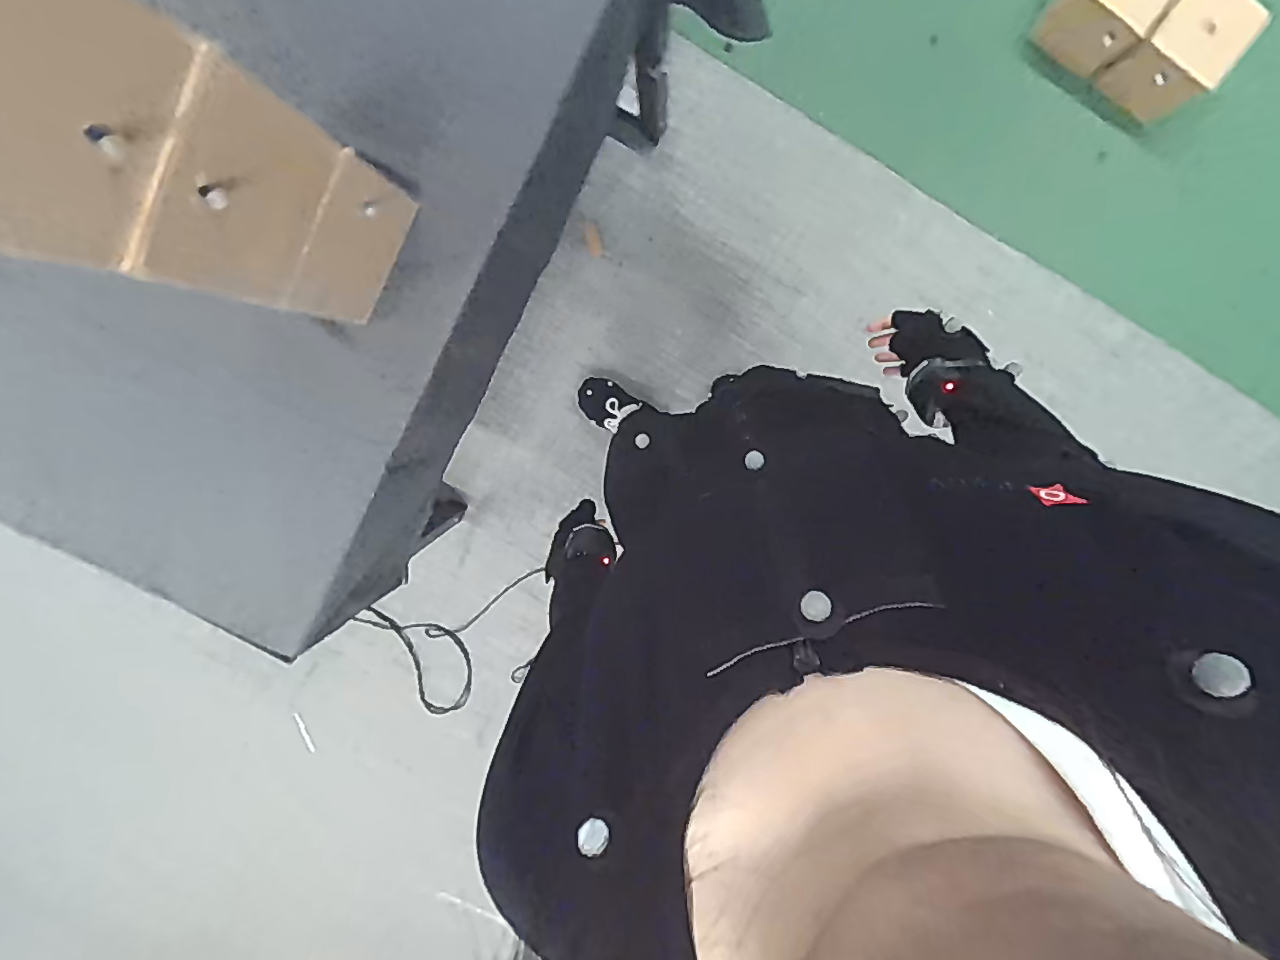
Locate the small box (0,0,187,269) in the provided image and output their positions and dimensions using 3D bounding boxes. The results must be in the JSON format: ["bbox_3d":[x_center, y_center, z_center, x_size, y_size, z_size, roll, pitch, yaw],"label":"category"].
[{"bbox_3d":[-0.422,-0.254,0.311,0.168,0.176,0.179,30,99,-3],"label":"small box"}]

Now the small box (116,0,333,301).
[{"bbox_3d":[-0.409,-0.281,0.472,0.168,0.176,0.179,28,100,-3],"label":"small box"}]
